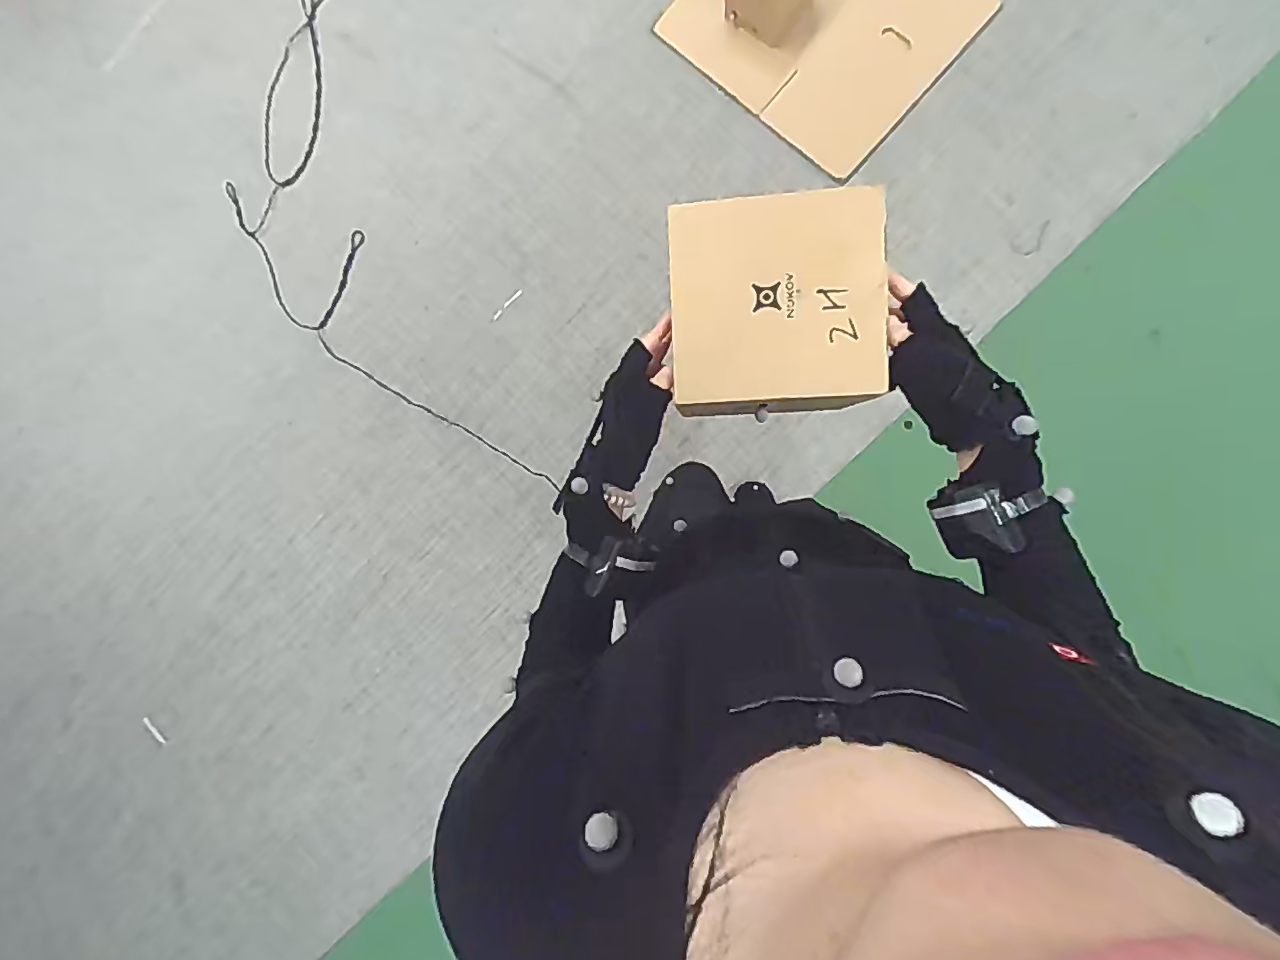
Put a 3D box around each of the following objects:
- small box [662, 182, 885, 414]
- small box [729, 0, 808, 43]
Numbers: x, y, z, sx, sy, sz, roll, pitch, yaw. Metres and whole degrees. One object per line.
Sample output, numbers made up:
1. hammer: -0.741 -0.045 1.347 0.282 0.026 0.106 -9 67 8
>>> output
1. small box: 0.117 -0.154 0.517 0.179 0.176 0.168 -2 93 7
2. small box: 0.338 -1.281 1.375 0.168 0.176 0.179 38 94 7
